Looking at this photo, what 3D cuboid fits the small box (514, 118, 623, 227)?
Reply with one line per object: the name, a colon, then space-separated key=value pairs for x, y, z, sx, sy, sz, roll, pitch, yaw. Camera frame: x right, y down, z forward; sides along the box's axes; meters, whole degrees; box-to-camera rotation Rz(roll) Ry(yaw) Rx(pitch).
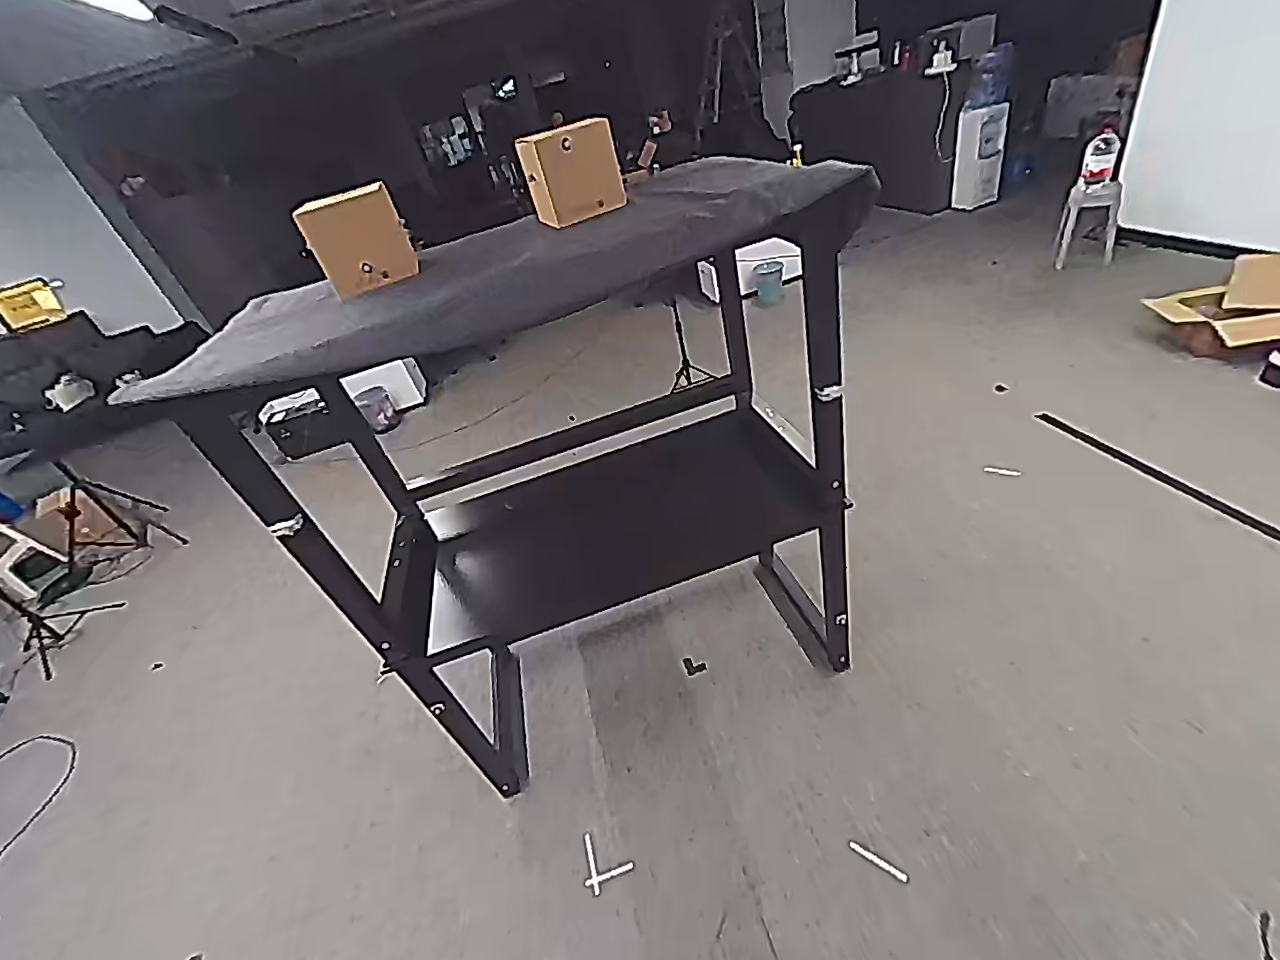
small box: x=-0.156 y=-0.669 z=1.184 sx=0.168 sy=0.176 sz=0.179 roll=-26 pitch=36 yaw=-11
